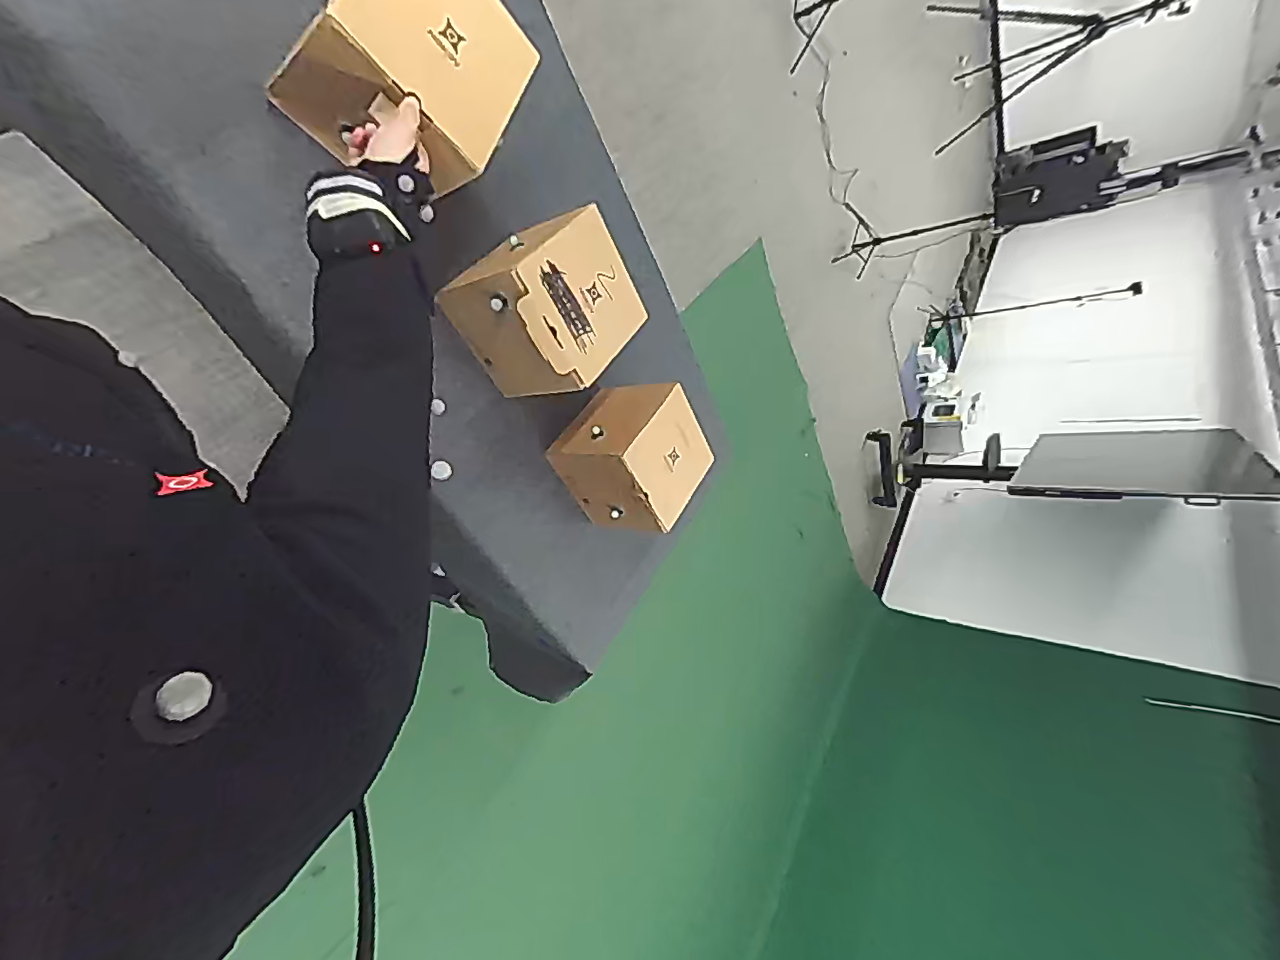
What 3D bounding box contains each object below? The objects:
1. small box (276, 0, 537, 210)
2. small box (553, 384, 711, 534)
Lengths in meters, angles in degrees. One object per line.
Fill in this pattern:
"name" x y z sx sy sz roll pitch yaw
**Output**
"small box" -0.246 -0.429 0.575 0.168 0.176 0.179 35 67 -46
"small box" -0.016 -0.036 0.881 0.179 0.176 0.168 -56 132 -32
